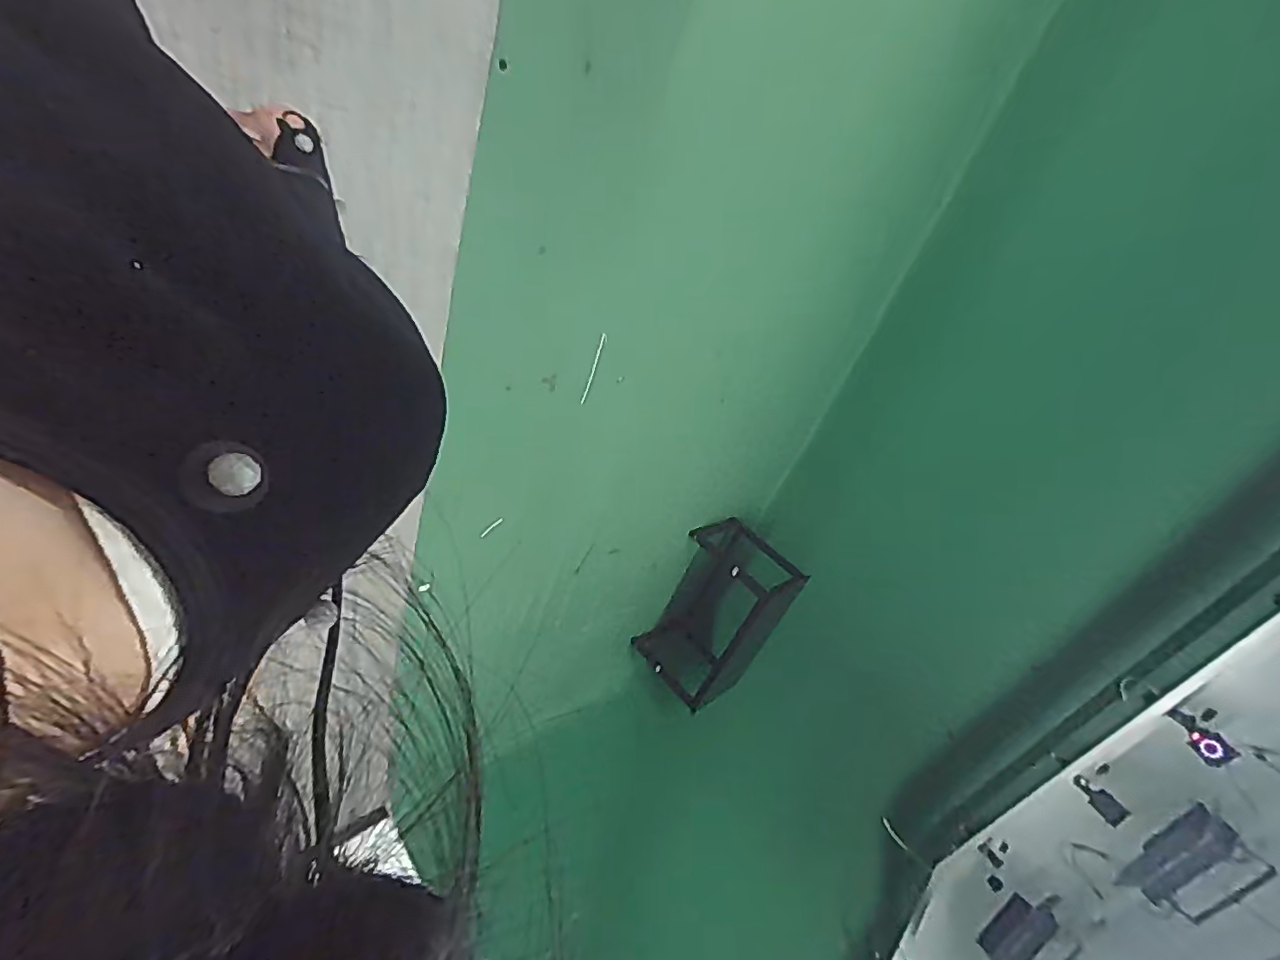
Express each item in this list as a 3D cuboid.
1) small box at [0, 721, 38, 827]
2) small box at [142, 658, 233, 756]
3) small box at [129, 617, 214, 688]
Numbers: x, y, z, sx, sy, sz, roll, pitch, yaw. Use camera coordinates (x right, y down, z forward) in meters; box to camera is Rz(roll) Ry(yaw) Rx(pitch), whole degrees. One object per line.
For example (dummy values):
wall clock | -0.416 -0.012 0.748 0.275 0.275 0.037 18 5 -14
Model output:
small box | -1.555 0.701 1.262 0.179 0.176 0.168 -55 149 13
small box | -1.287 0.633 1.539 0.168 0.176 0.179 -14 137 -44
small box | -1.394 0.533 1.615 0.168 0.176 0.179 -15 137 -44
